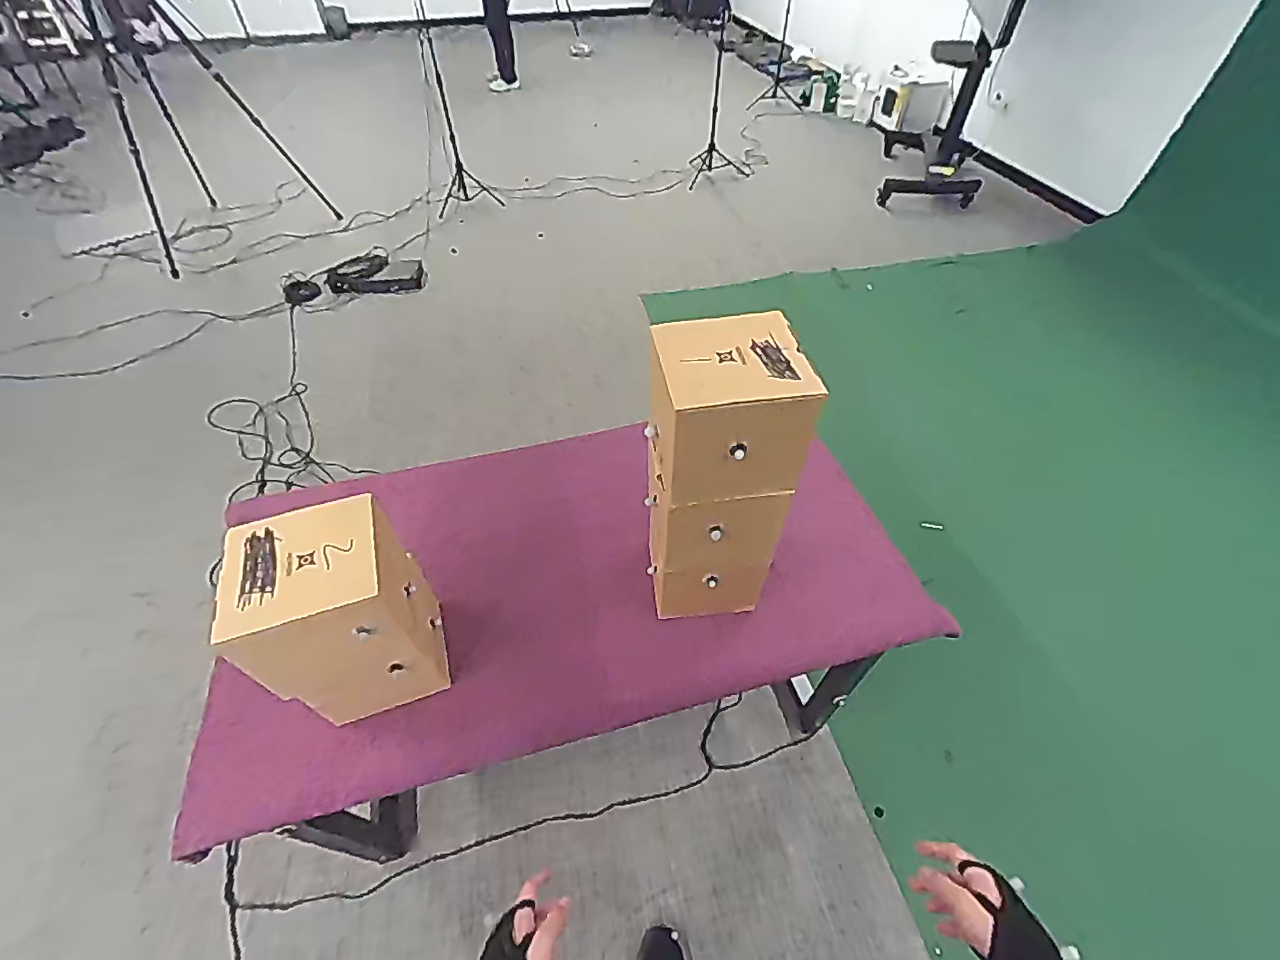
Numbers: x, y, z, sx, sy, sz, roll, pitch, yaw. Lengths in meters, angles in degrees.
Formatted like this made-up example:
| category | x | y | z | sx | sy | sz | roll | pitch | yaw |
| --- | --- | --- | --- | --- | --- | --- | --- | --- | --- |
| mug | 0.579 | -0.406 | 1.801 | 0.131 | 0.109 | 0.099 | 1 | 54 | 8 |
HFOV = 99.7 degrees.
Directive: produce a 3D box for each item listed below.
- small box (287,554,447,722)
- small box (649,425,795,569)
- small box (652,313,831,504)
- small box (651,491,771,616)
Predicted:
| category | x | y | z | sx | sy | sz | roll | pitch | yaw |
| --- | --- | --- | --- | --- | --- | --- | --- | --- | --- |
| small box | -0.409 | 0.245 | 0.835 | 0.179 | 0.176 | 0.168 | -16 | 51 | -13 |
| small box | 0.112 | 0.020 | 0.815 | 0.179 | 0.176 | 0.168 | -7 | 51 | -4 |
| small box | 0.113 | -0.089 | 0.691 | 0.179 | 0.176 | 0.168 | -7 | 50 | -5 |
| small box | 0.112 | 0.125 | 0.940 | 0.179 | 0.176 | 0.168 | -4 | 50 | -3 |
